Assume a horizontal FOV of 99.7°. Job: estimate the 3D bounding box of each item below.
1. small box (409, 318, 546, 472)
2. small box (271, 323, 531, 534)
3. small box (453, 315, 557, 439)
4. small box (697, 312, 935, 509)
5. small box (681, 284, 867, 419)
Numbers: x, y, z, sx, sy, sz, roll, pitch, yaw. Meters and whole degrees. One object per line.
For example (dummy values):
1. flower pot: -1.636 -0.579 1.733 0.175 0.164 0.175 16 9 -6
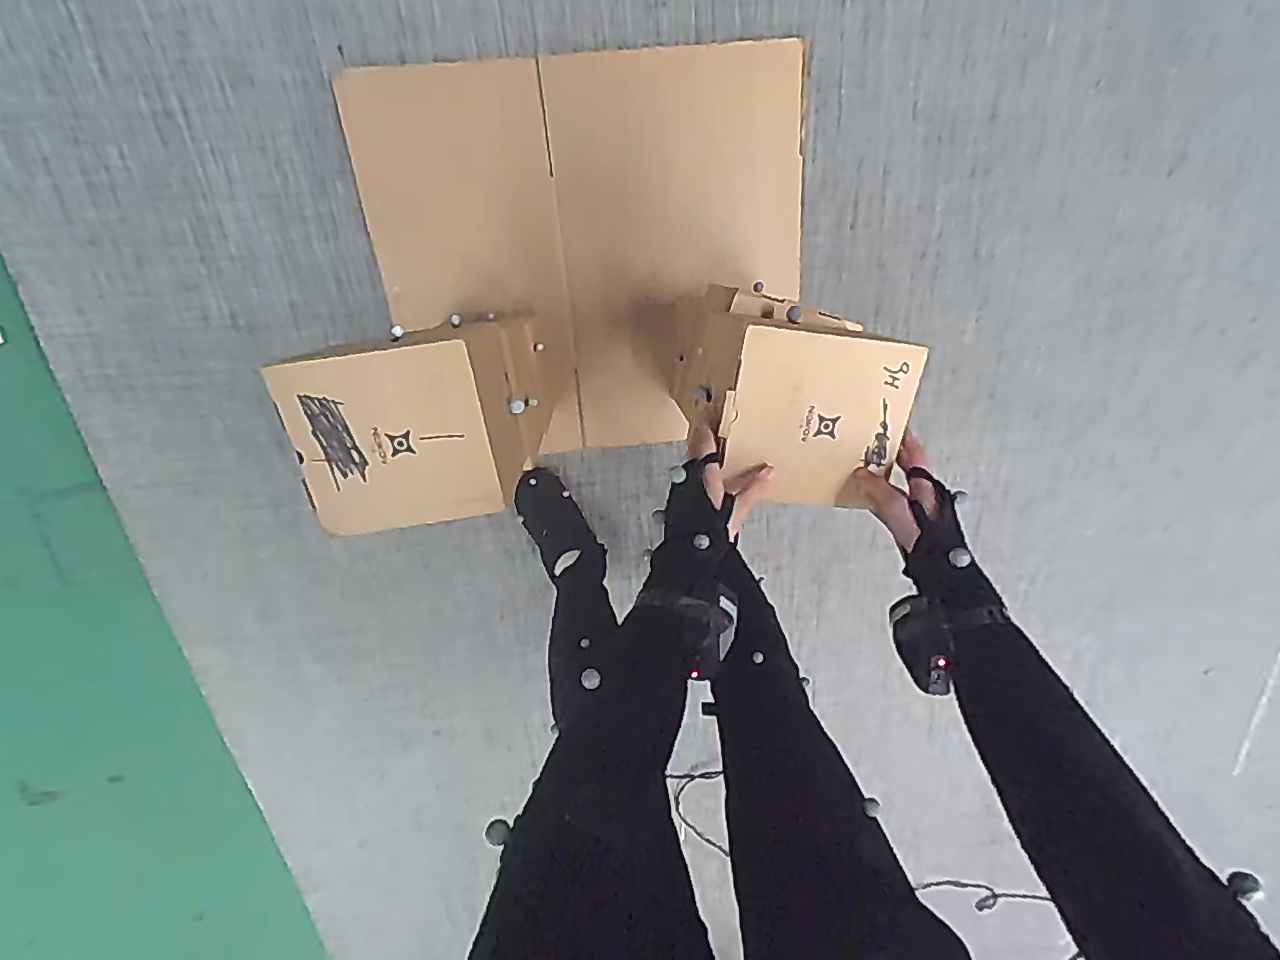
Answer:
1. small box: -0.223 -0.111 0.714 0.168 0.176 0.179 -8 111 -3
2. small box: -0.221 -0.063 0.556 0.179 0.176 0.168 -9 111 -2
3. small box: -0.232 -0.163 0.870 0.168 0.176 0.179 -8 110 -2
4. small box: 0.165 -0.084 0.578 0.179 0.176 0.168 6 110 -6
5. small box: 0.163 -0.155 0.726 0.168 0.176 0.179 13 110 -10
